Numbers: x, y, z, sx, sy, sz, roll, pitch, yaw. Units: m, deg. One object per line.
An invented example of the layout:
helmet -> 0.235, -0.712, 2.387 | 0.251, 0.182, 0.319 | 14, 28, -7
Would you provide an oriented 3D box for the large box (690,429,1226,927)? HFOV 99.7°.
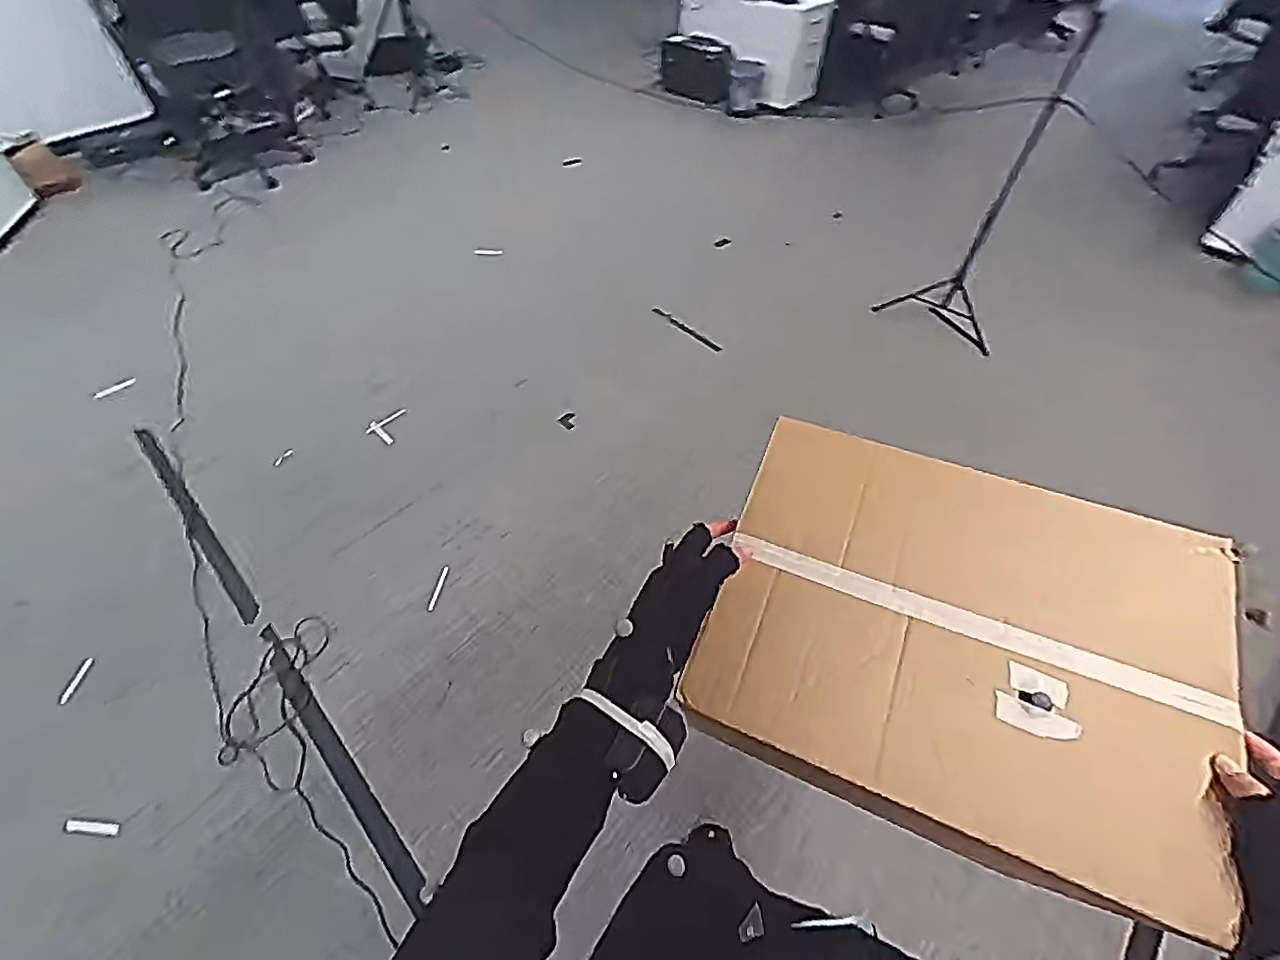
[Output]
large box -> 0.295, 0.195, 0.614 | 0.408, 0.320, 0.320 | 19, 67, 16
